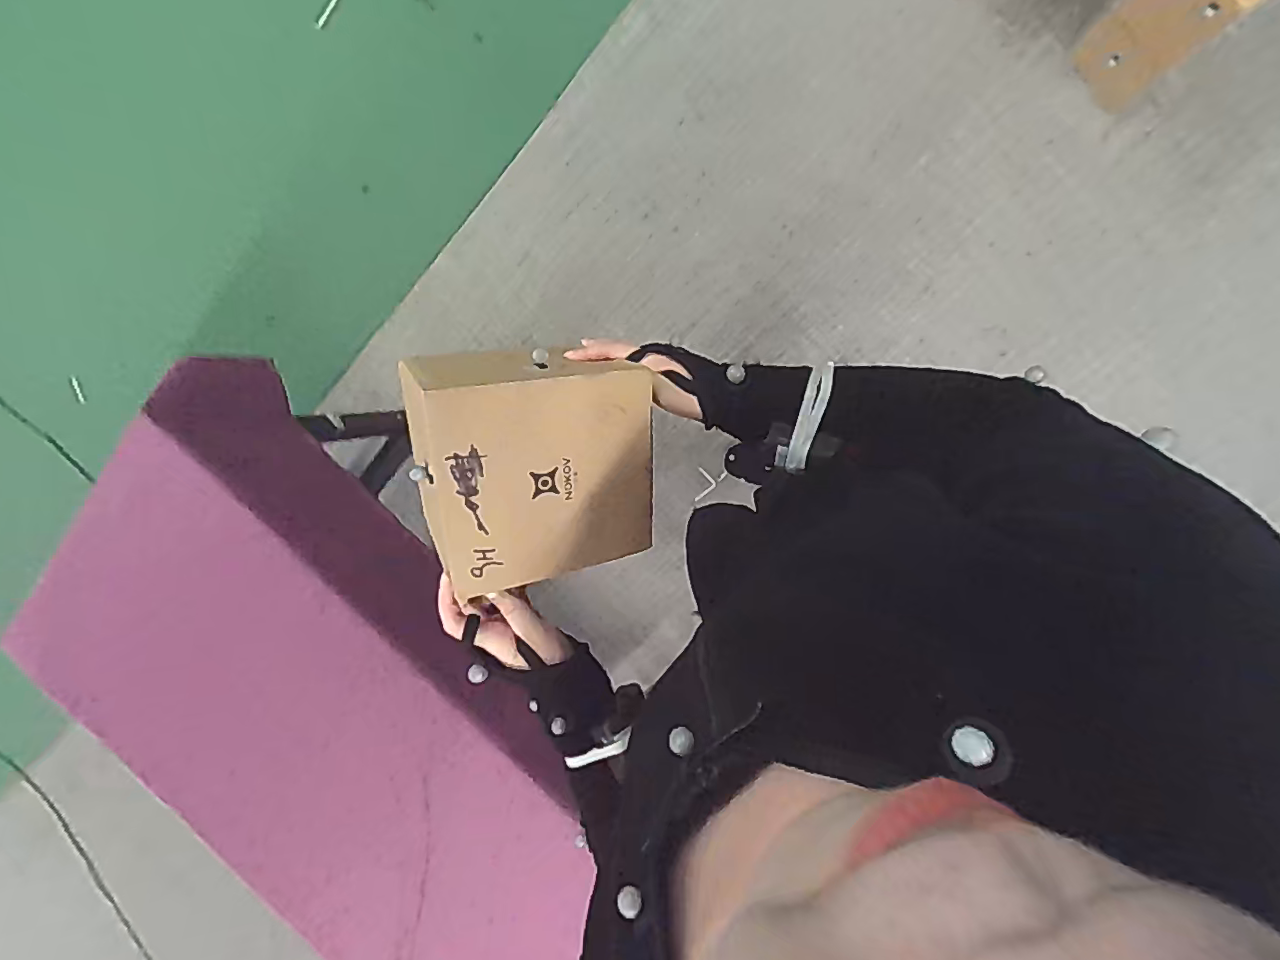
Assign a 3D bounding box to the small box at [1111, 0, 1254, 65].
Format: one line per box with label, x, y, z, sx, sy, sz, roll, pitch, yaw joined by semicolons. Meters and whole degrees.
small box;0.985;-0.882;0.933;0.168;0.176;0.179;-40;90;13
